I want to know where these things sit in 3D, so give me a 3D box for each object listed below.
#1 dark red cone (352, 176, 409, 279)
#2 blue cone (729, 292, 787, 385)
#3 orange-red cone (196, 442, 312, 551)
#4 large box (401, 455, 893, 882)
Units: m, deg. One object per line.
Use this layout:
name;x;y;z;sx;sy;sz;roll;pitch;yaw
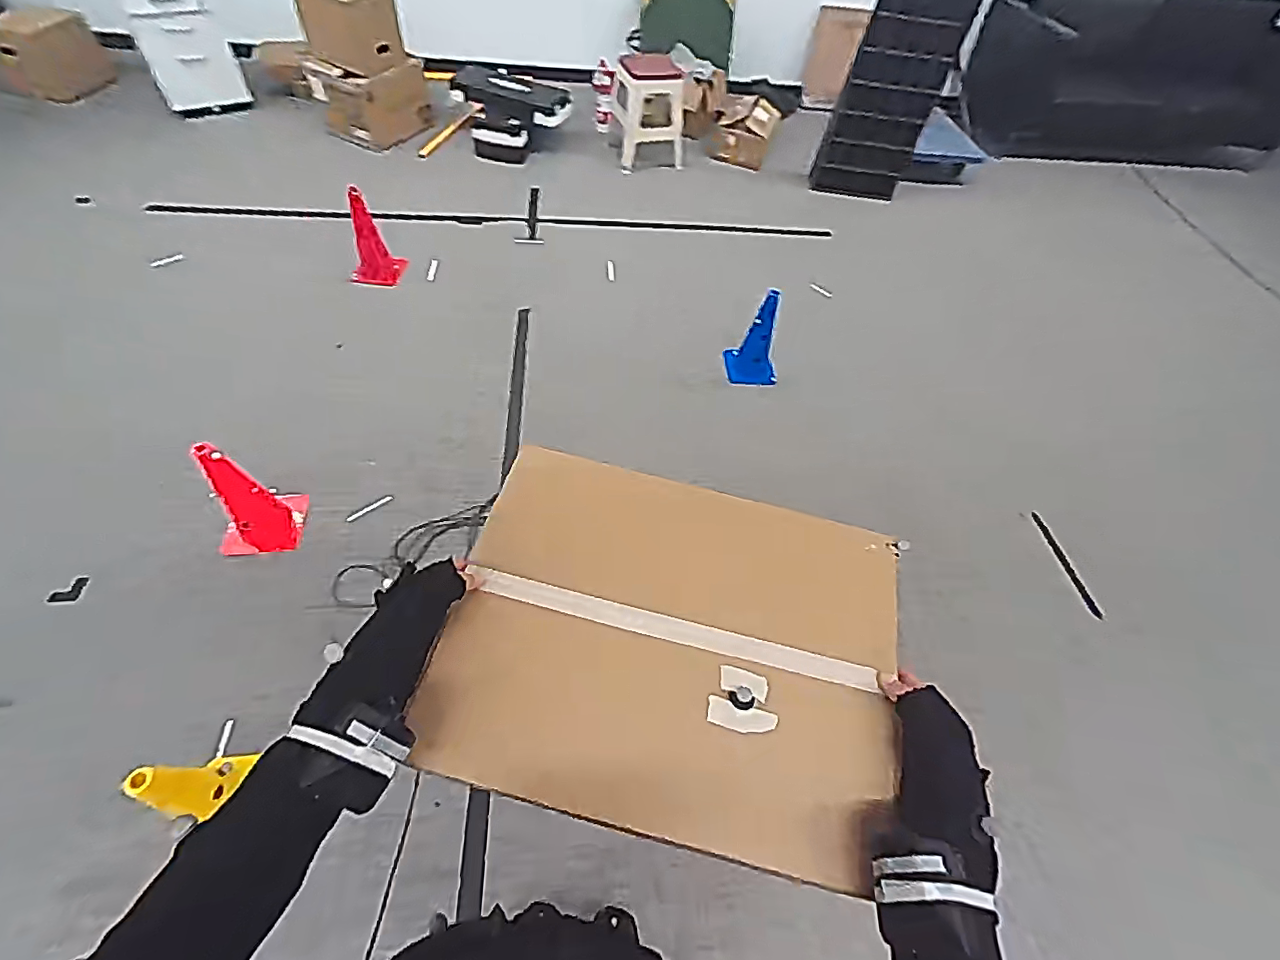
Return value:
dark red cone;-1.110;-1.039;2.223;0.201;0.394;0.202;5;53;-4
blue cone;0.486;-0.559;2.102;0.192;0.380;0.193;3;54;-6
orange-red cone;-1.085;0.023;1.473;0.198;0.360;0.199;-3;56;-8
large box;0.017;0.219;0.624;0.408;0.320;0.320;14;58;3
